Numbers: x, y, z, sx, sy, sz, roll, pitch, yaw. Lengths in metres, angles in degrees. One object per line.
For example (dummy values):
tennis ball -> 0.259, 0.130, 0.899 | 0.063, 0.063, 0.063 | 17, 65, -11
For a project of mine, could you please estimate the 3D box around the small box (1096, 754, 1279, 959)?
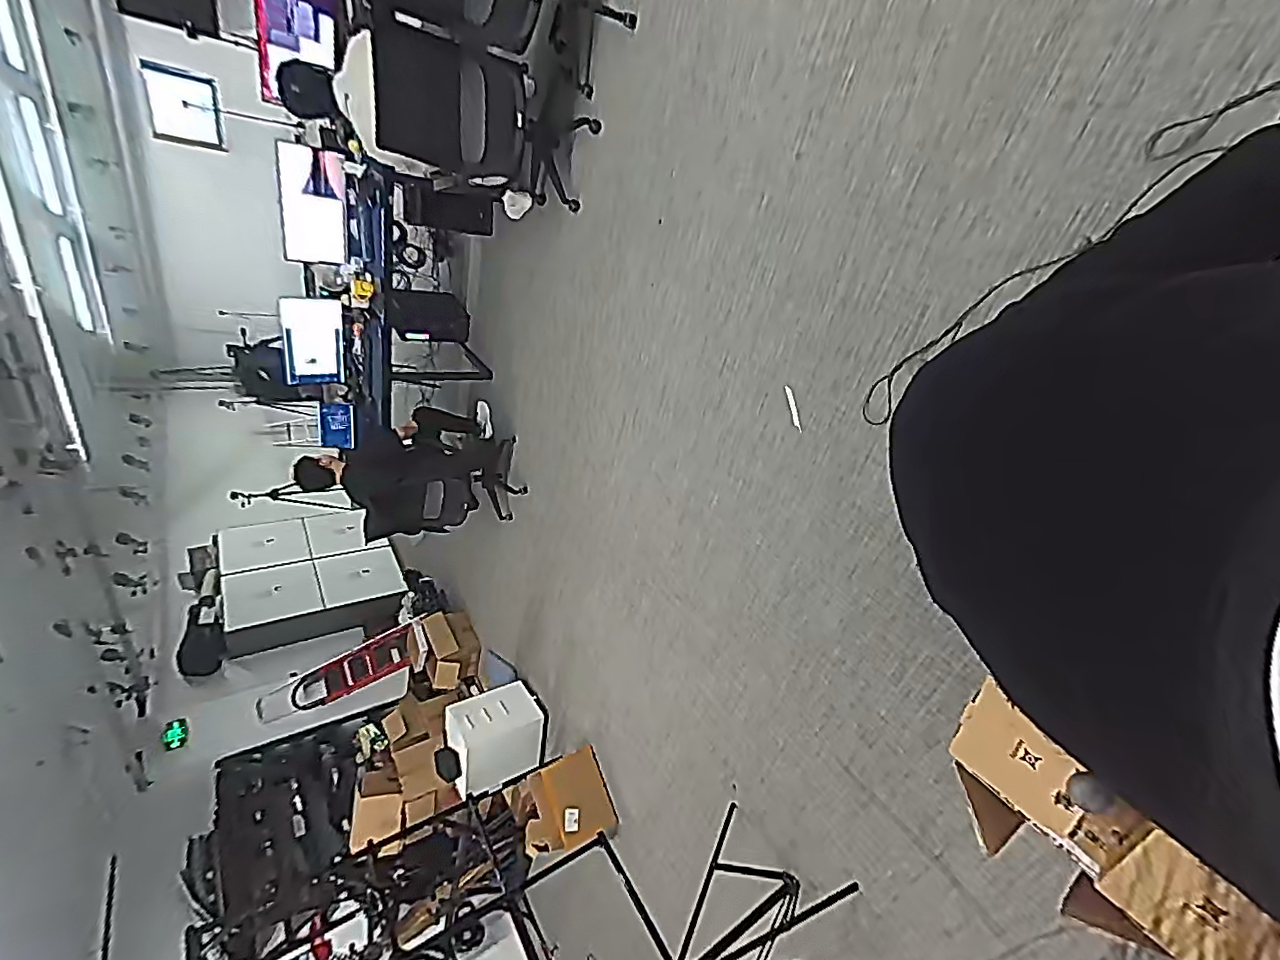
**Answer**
small box -> 0.768, 0.512, 0.720 | 0.168, 0.176, 0.179 | 38, 122, 41

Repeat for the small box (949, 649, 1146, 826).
small box -> 0.646, 0.392, 0.862 | 0.179, 0.176, 0.168 | 36, 121, 46
